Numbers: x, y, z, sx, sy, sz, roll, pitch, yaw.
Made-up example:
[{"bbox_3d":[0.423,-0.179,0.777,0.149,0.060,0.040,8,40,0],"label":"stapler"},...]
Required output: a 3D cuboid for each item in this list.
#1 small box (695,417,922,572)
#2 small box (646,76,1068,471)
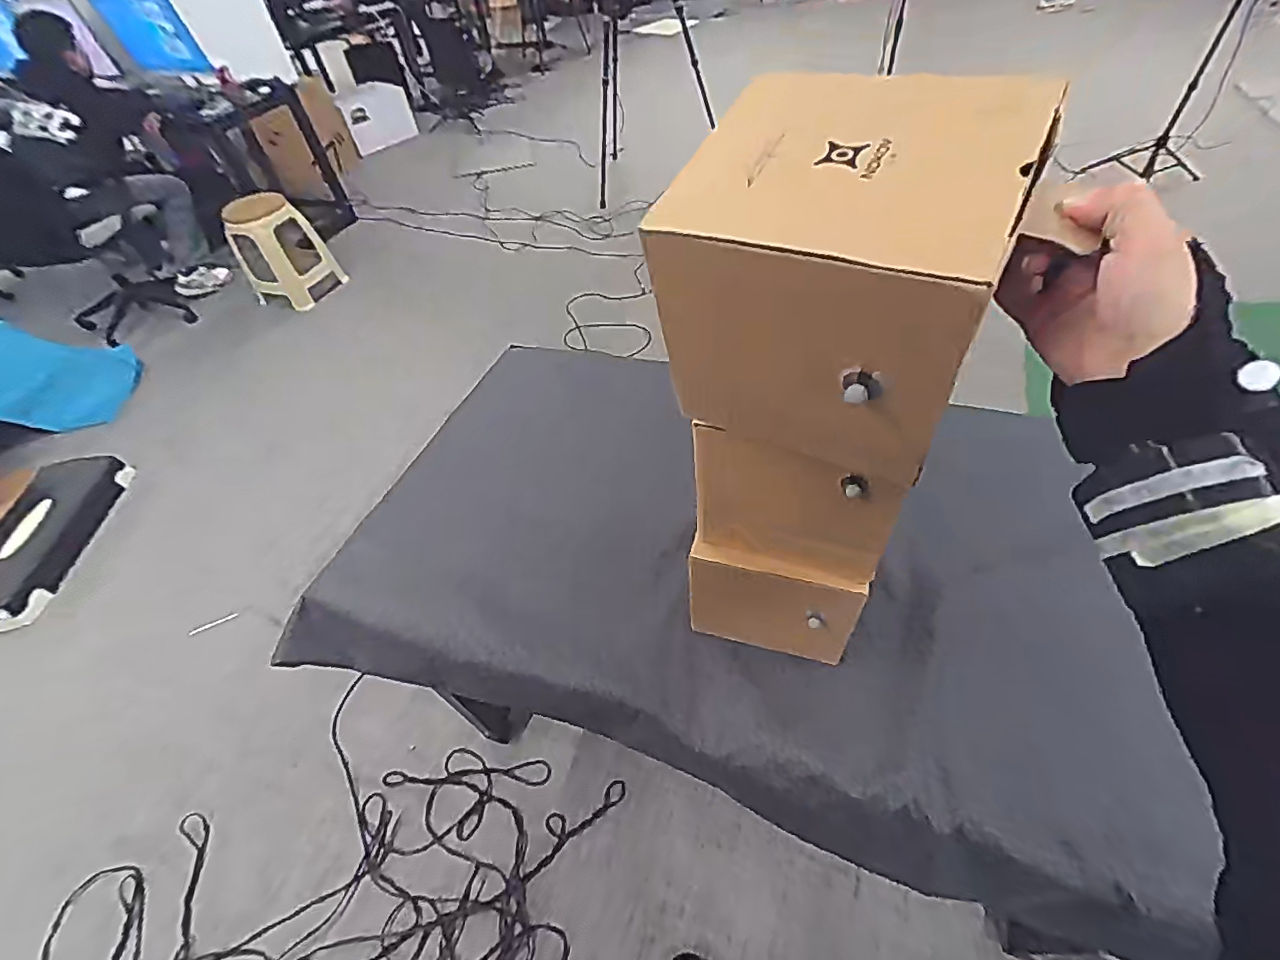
[{"bbox_3d":[0.160,-0.034,0.525,0.179,0.176,0.168,13,51,17],"label":"small box"},{"bbox_3d":[0.131,-0.128,0.356,0.179,0.176,0.168,20,65,25],"label":"small box"}]
